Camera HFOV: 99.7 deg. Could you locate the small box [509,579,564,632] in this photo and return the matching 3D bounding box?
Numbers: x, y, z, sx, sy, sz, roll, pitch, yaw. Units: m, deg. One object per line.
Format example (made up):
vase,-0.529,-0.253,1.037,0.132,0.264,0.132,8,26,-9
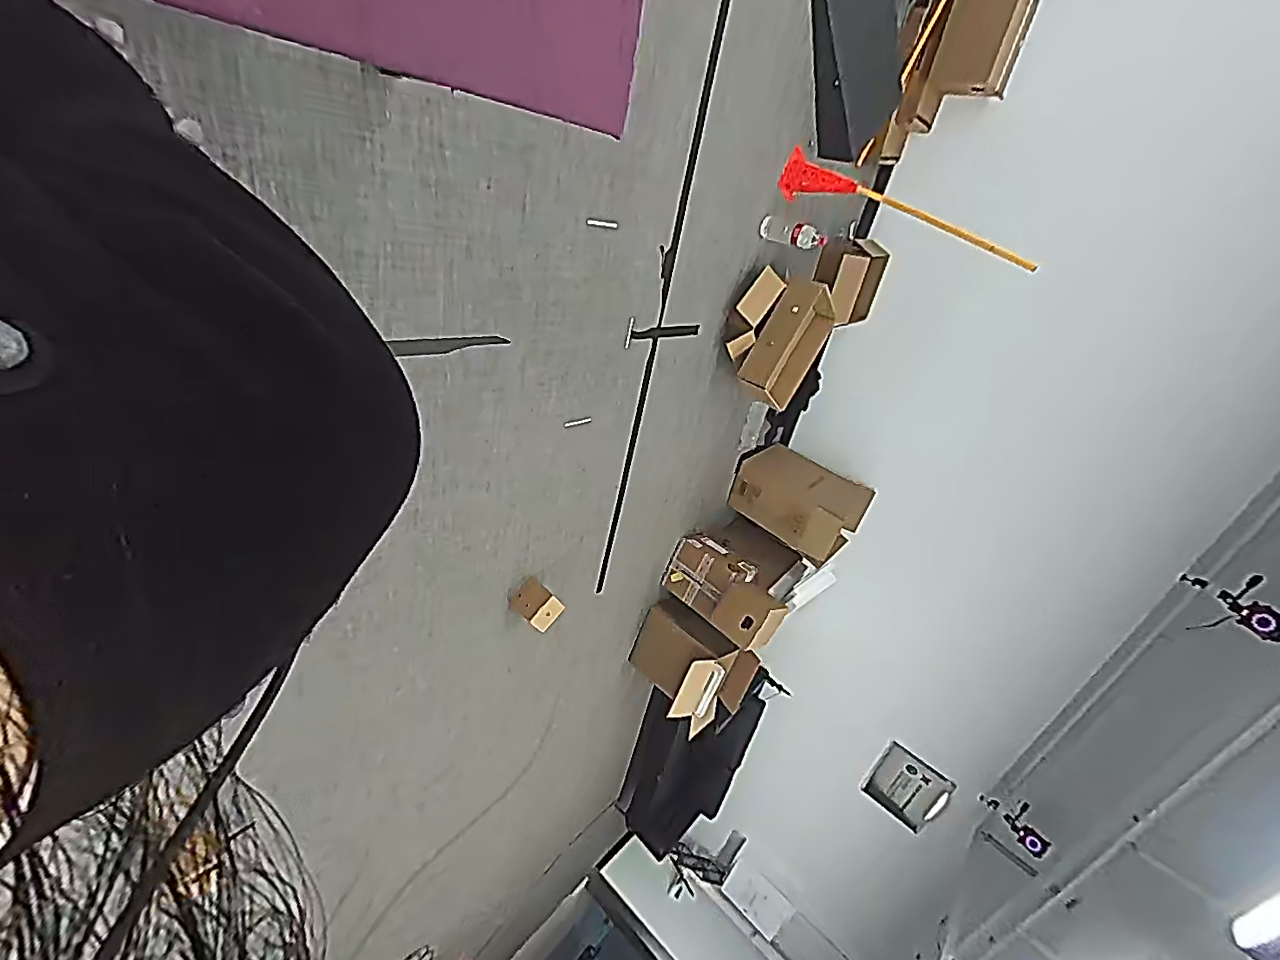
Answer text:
small box,-0.509,0.610,2.648,0.168,0.176,0.179,-48,150,-15
